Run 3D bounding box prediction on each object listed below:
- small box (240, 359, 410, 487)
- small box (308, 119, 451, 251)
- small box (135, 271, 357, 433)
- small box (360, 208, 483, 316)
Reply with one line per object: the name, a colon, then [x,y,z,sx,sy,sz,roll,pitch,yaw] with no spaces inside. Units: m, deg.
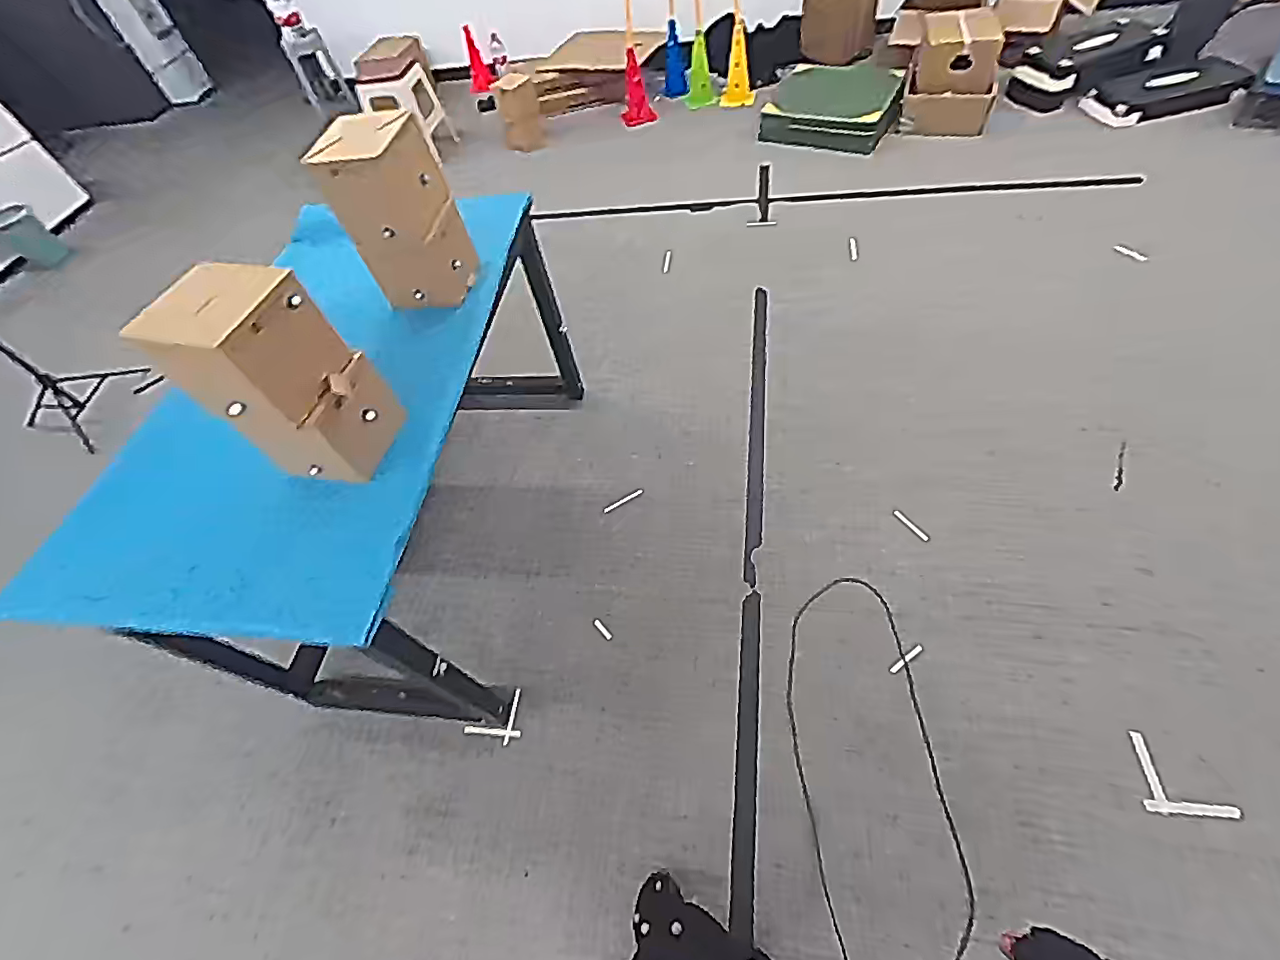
small box: [-0.551,-0.107,0.955,0.179,0.176,0.168,6,56,12]
small box: [-0.512,-0.591,1.084,0.168,0.176,0.179,1,59,12]
small box: [-0.585,-0.194,0.818,0.179,0.176,0.168,9,57,13]
small box: [-0.484,-0.494,1.213,0.179,0.176,0.168,0,56,10]
